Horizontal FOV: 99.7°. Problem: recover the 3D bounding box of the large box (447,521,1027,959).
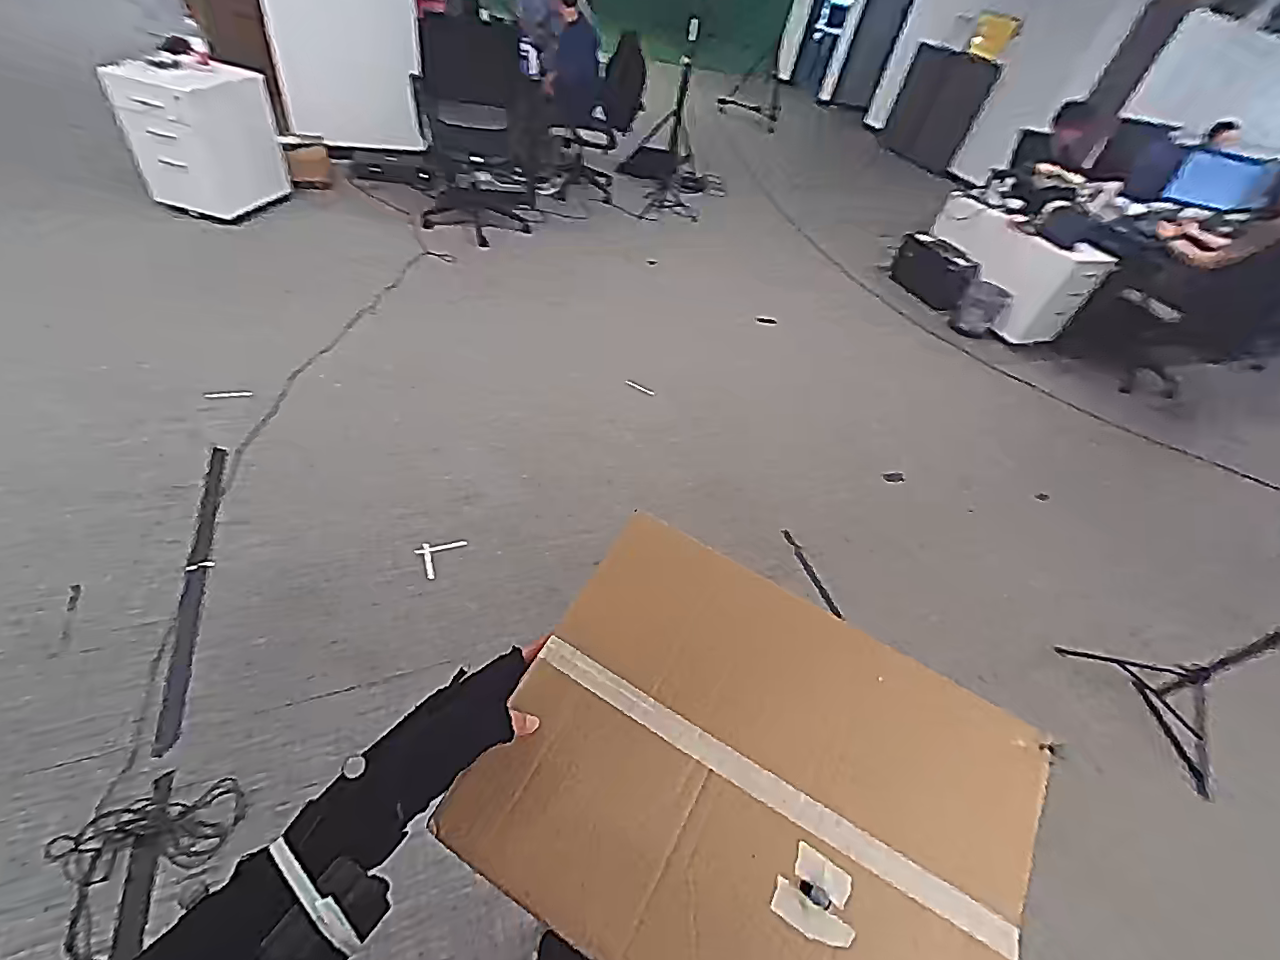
[{"bbox_3d":[0.084,0.312,0.573,0.408,0.320,0.320,29,64,12],"label":"large box"}]
